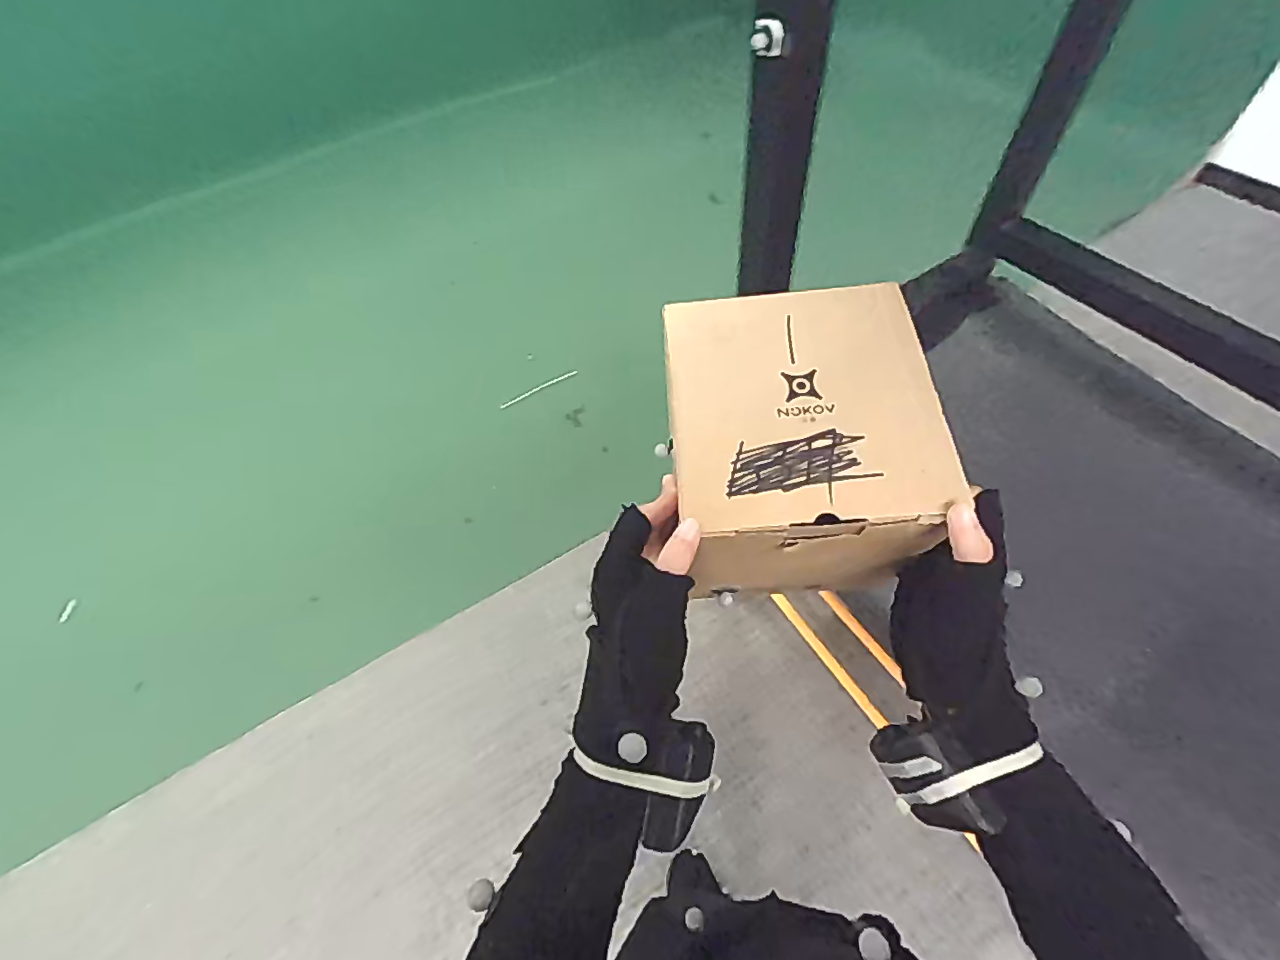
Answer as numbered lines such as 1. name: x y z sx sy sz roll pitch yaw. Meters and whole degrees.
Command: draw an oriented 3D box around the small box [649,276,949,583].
1. small box: 0.098 -0.024 0.415 0.168 0.176 0.179 -5 64 3
